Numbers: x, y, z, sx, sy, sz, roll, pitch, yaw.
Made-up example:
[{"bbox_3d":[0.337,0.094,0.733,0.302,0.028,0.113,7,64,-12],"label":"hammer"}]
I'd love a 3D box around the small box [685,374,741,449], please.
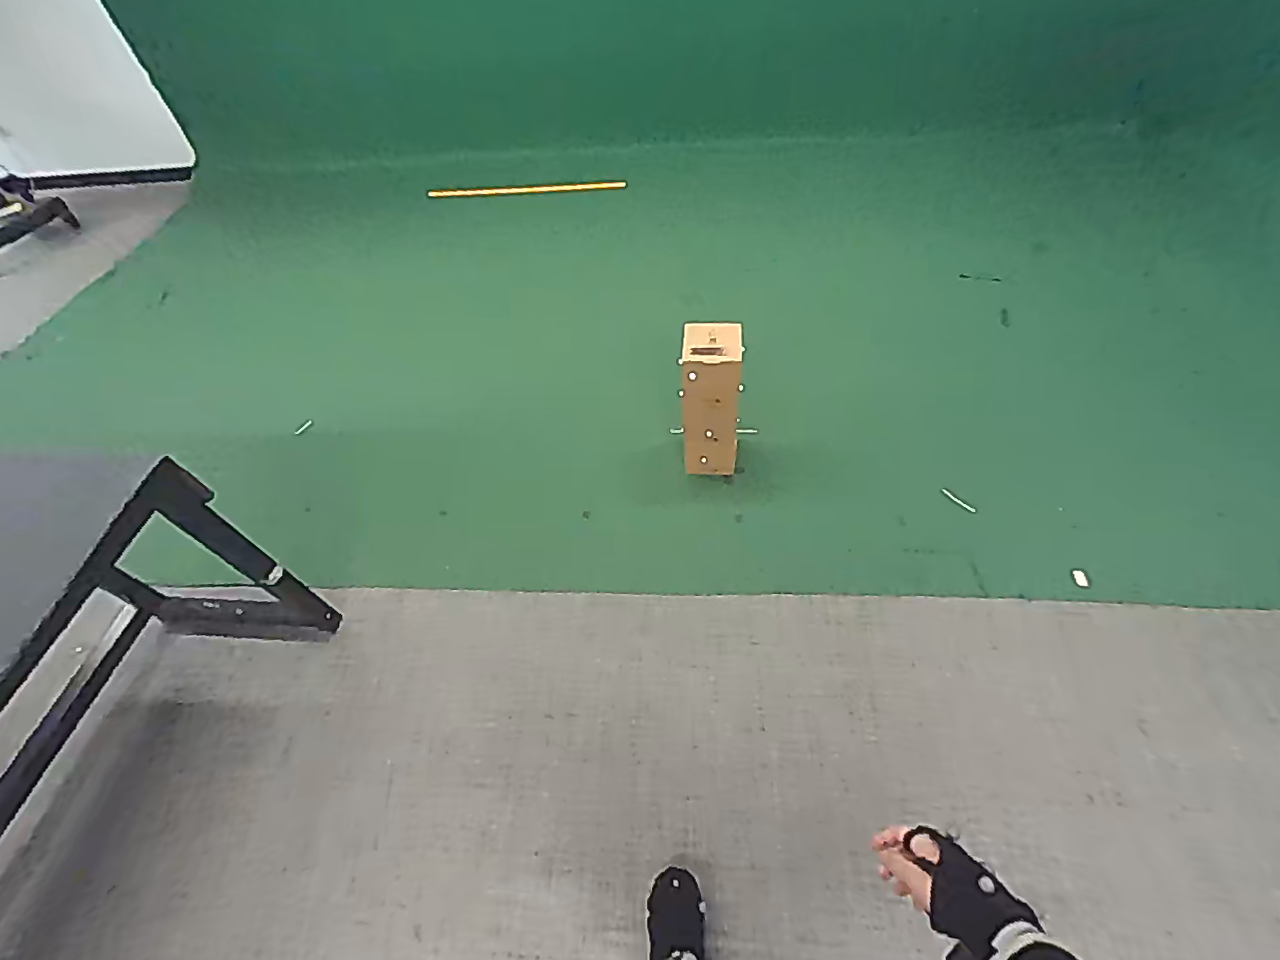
[{"bbox_3d":[0.233,-0.219,1.722,0.168,0.176,0.179,1,52,9],"label":"small box"}]

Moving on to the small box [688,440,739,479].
[{"bbox_3d":[0.252,-0.116,1.850,0.168,0.176,0.179,-1,51,7],"label":"small box"}]
